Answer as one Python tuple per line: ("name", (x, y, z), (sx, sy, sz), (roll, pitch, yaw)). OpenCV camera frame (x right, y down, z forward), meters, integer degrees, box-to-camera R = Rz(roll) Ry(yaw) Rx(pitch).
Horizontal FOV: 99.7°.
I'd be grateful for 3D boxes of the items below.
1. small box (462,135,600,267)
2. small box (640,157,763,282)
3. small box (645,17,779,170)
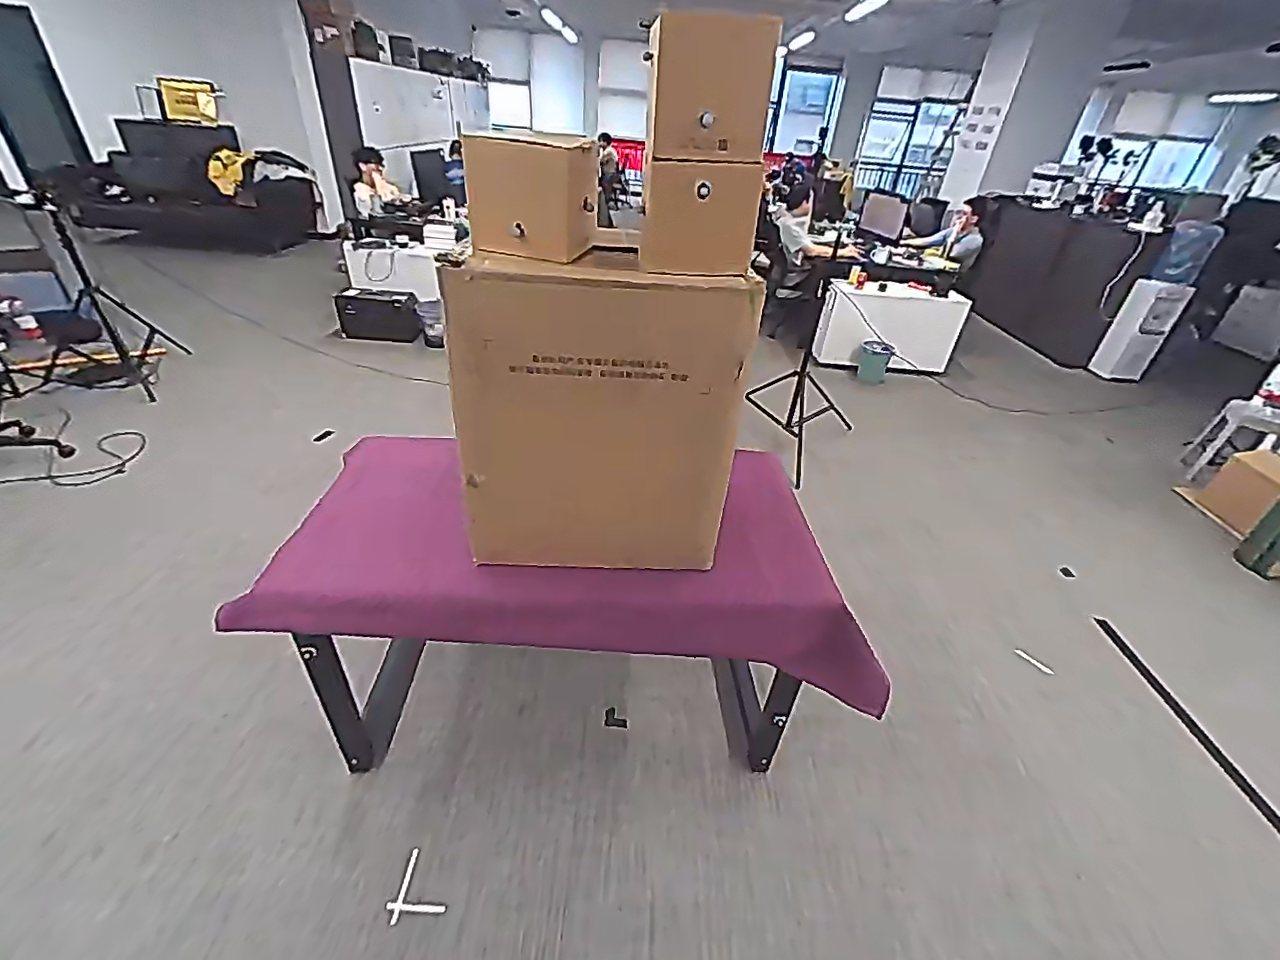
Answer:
("small box", (-0.177, -0.473, 0.920), (0.179, 0.176, 0.168), (12, 36, 8))
("small box", (0.091, -0.439, 0.911), (0.179, 0.176, 0.168), (0, 35, -5))
("small box", (0.096, -0.577, 0.822), (0.168, 0.176, 0.179), (0, 35, -3))
